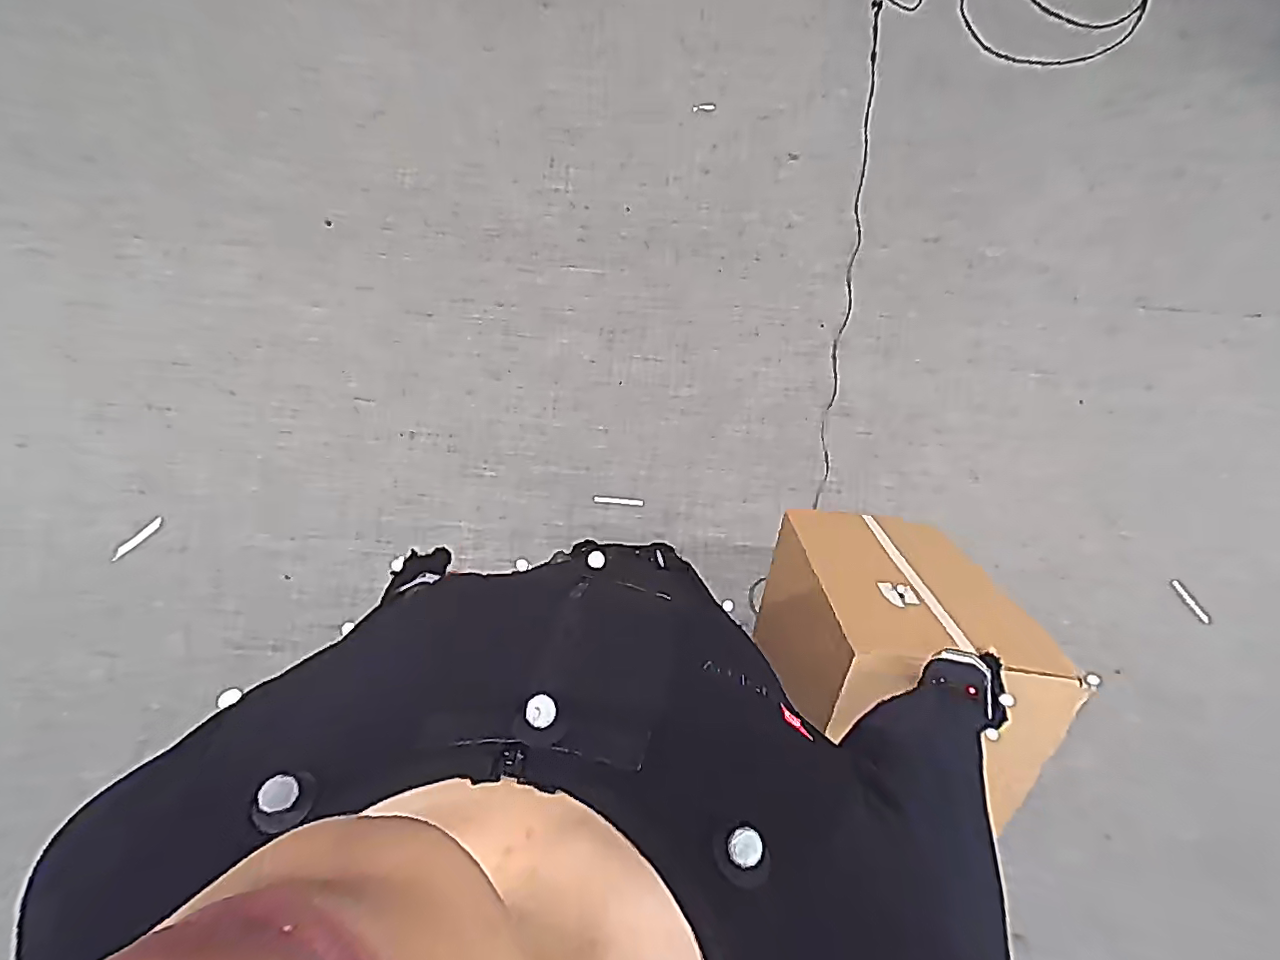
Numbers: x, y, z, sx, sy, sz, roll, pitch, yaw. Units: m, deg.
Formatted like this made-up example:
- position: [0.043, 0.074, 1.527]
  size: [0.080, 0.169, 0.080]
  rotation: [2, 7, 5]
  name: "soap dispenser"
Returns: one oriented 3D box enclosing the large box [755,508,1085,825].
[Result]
- position: [0.413, 0.293, 0.939]
  size: [0.320, 0.408, 0.320]
  rotation: [7, 116, -1]
  name: "large box"
